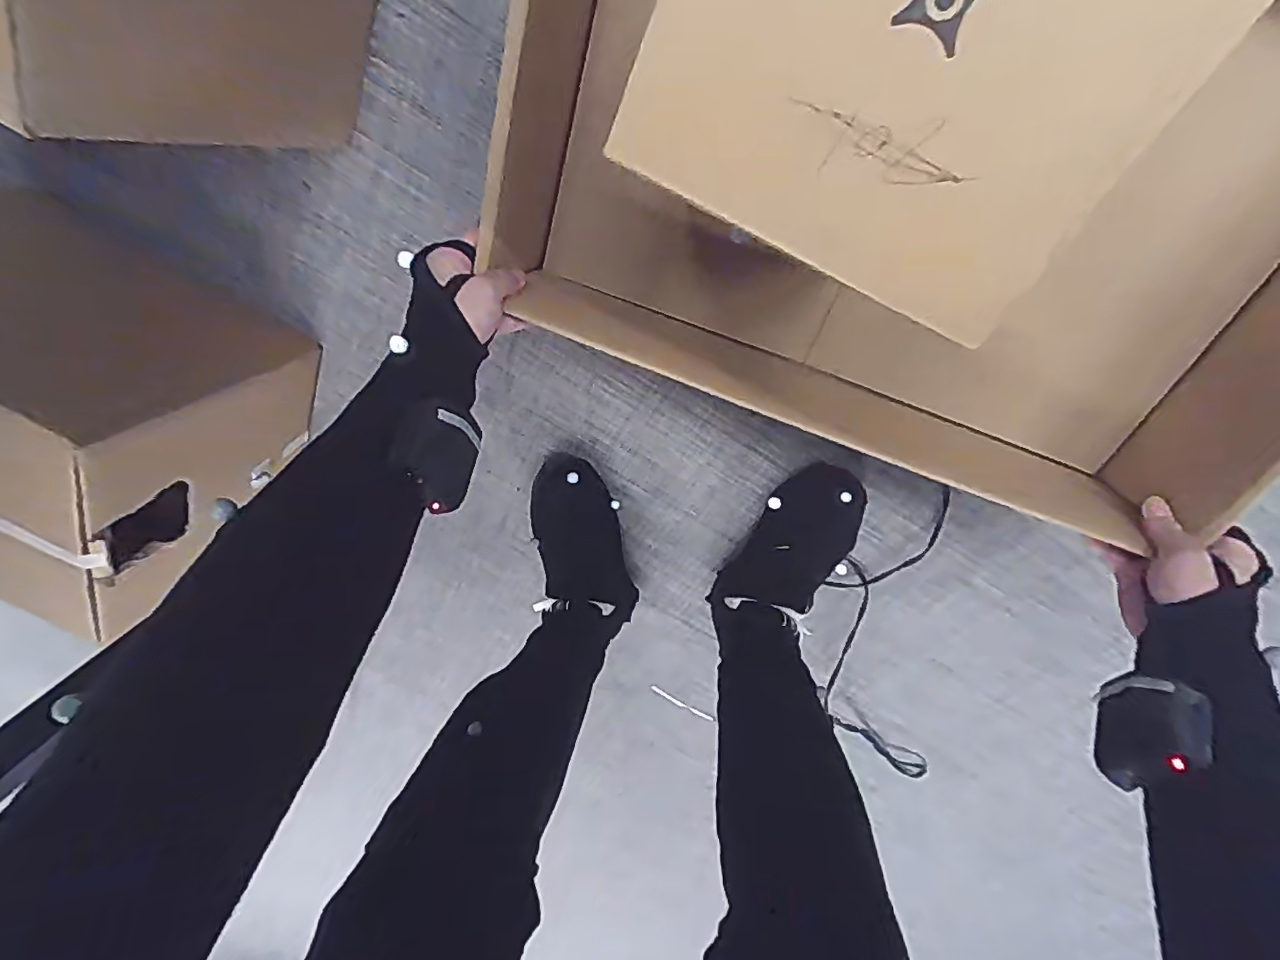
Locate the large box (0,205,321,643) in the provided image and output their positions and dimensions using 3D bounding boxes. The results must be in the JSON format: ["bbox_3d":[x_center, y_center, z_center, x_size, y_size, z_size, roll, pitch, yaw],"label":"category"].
[{"bbox_3d":[-0.686,-0.084,0.661,0.408,0.320,0.320,29,120,-4],"label":"large box"}]
